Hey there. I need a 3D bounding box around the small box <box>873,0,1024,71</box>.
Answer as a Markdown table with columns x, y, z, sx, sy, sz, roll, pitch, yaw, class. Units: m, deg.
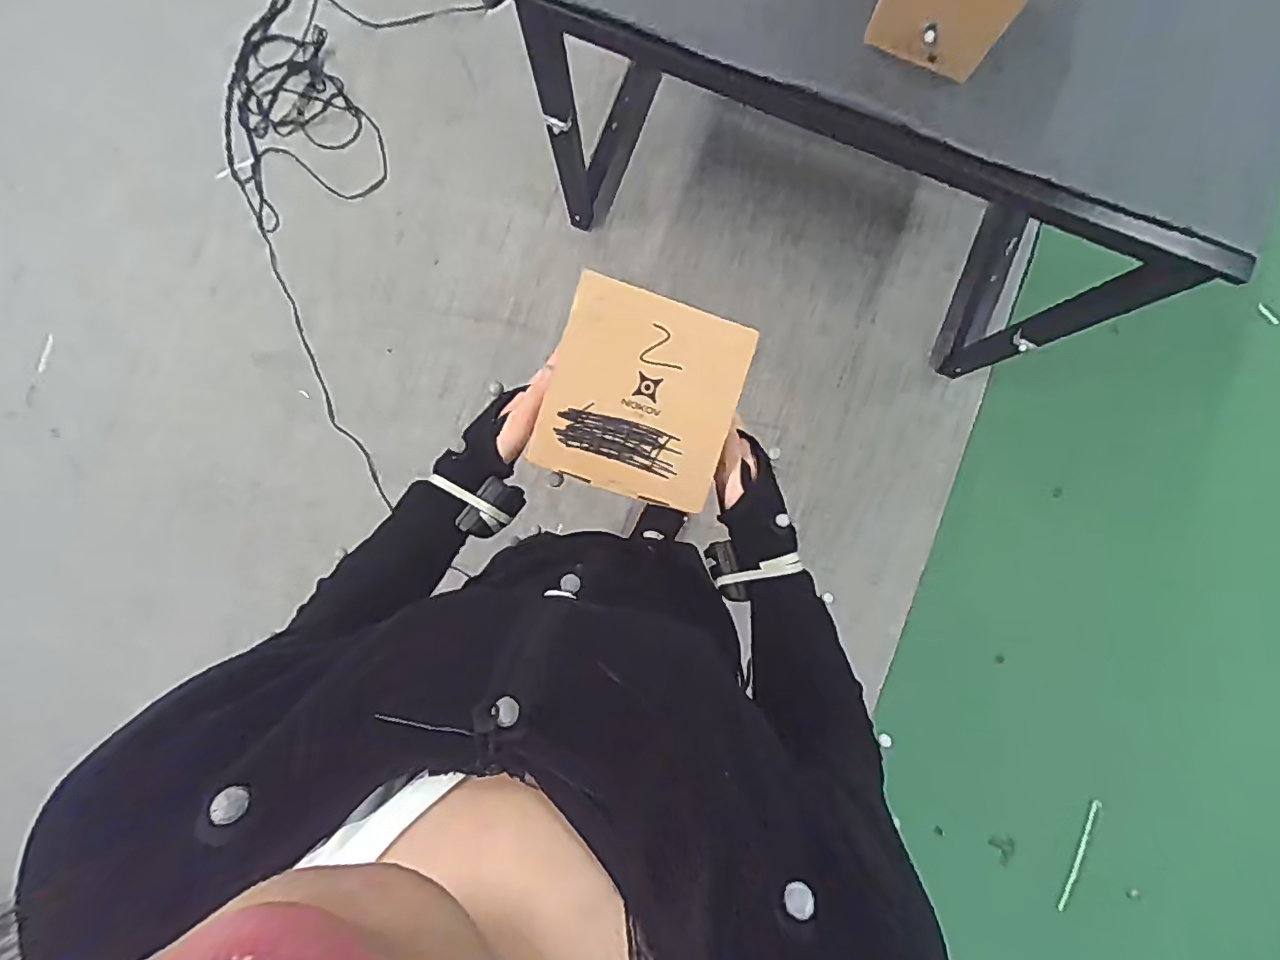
| x | y | z | sx | sy | sz | roll | pitch | yaw | class |
| --- | --- | --- | --- | --- | --- | --- | --- | --- | --- |
| 0.441 | -0.710 | 0.718 | 0.168 | 0.176 | 0.179 | 23 | 88 | 1 | small box |
